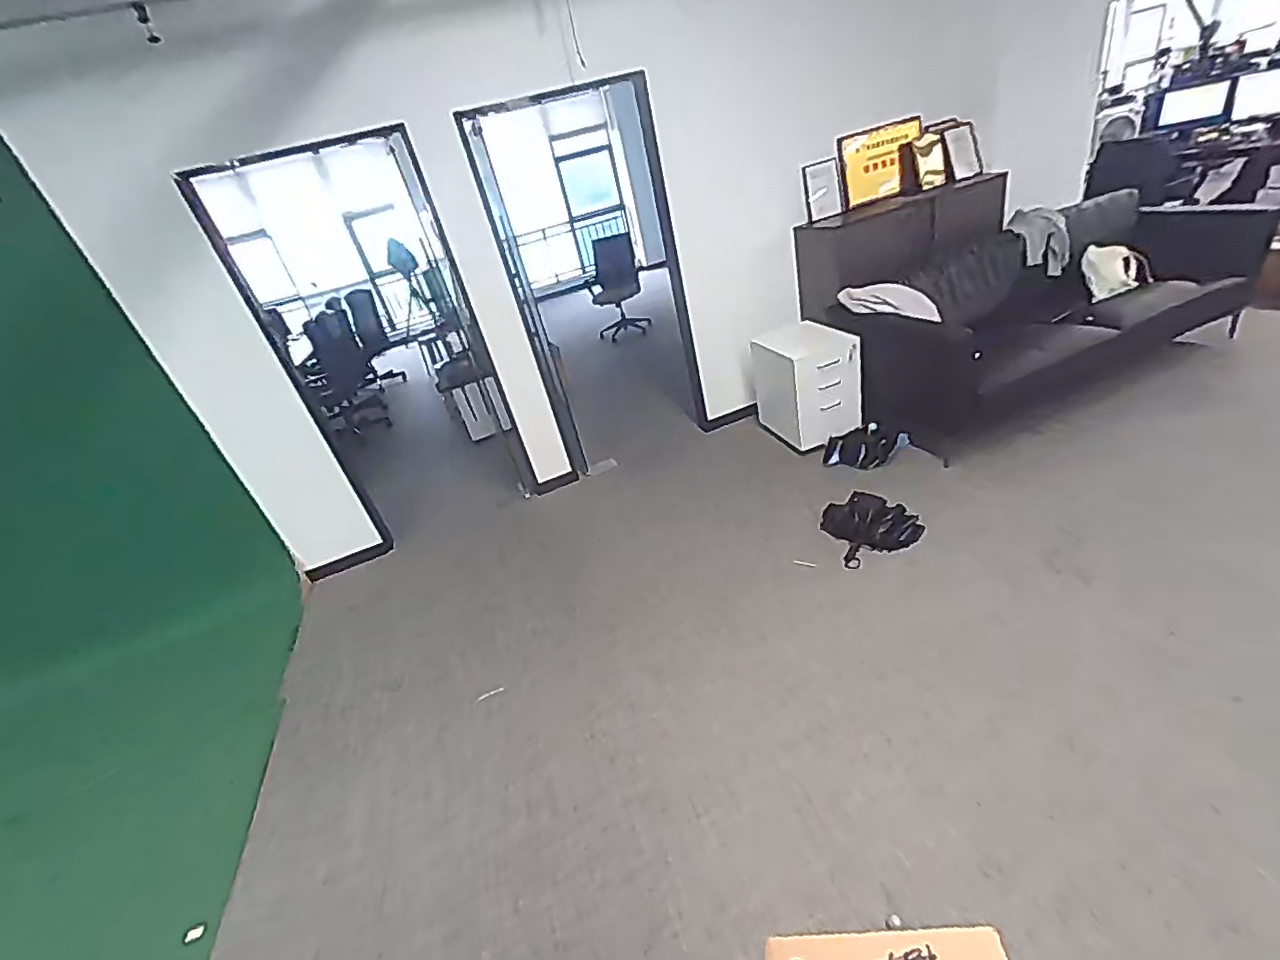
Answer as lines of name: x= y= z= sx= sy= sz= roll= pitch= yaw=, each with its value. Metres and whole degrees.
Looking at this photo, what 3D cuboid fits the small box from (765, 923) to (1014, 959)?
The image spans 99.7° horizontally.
small box: x=0.187 y=0.436 z=0.366 sx=0.168 sy=0.176 sz=0.179 roll=-9 pitch=36 yaw=8
